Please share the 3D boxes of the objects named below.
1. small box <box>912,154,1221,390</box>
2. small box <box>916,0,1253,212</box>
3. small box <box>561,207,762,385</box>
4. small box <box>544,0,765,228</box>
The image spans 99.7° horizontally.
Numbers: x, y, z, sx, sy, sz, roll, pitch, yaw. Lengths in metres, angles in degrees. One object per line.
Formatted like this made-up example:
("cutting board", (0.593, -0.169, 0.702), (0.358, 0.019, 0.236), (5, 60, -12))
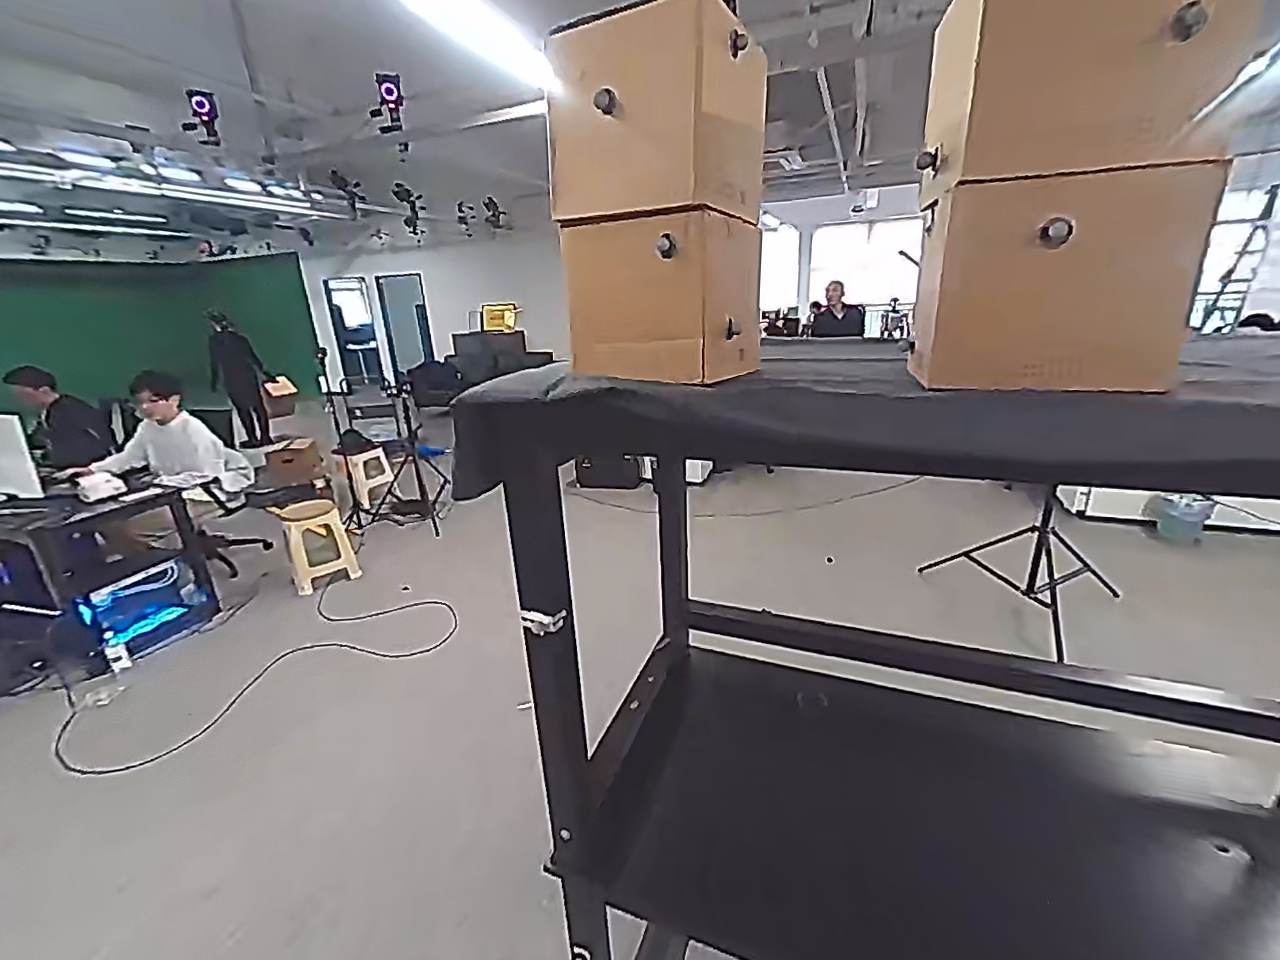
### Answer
("small box", (0.359, -0.177, 0.501), (0.179, 0.176, 0.168), (4, 19, 19))
("small box", (0.355, -0.334, 0.461), (0.179, 0.176, 0.168), (1, 17, 14))
("small box", (0.029, -0.203, 0.630), (0.179, 0.176, 0.168), (9, 20, 30))
("small box", (0.020, -0.356, 0.573), (0.179, 0.176, 0.168), (8, 19, 30))
